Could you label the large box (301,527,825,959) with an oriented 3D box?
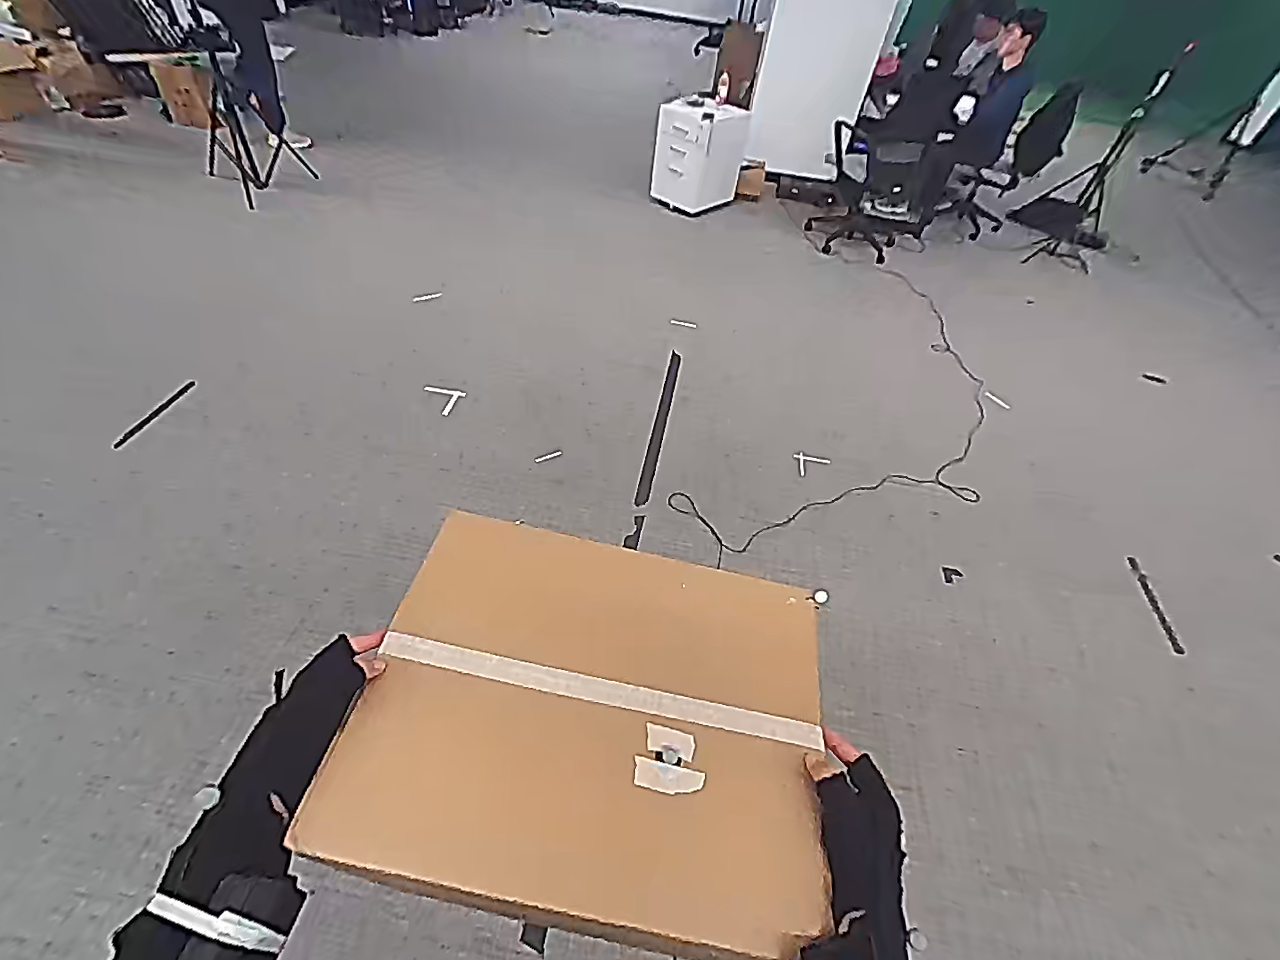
[{"bbox_3d":[-0.058,0.299,0.604,0.408,0.320,0.320,13,49,0],"label":"large box"}]
